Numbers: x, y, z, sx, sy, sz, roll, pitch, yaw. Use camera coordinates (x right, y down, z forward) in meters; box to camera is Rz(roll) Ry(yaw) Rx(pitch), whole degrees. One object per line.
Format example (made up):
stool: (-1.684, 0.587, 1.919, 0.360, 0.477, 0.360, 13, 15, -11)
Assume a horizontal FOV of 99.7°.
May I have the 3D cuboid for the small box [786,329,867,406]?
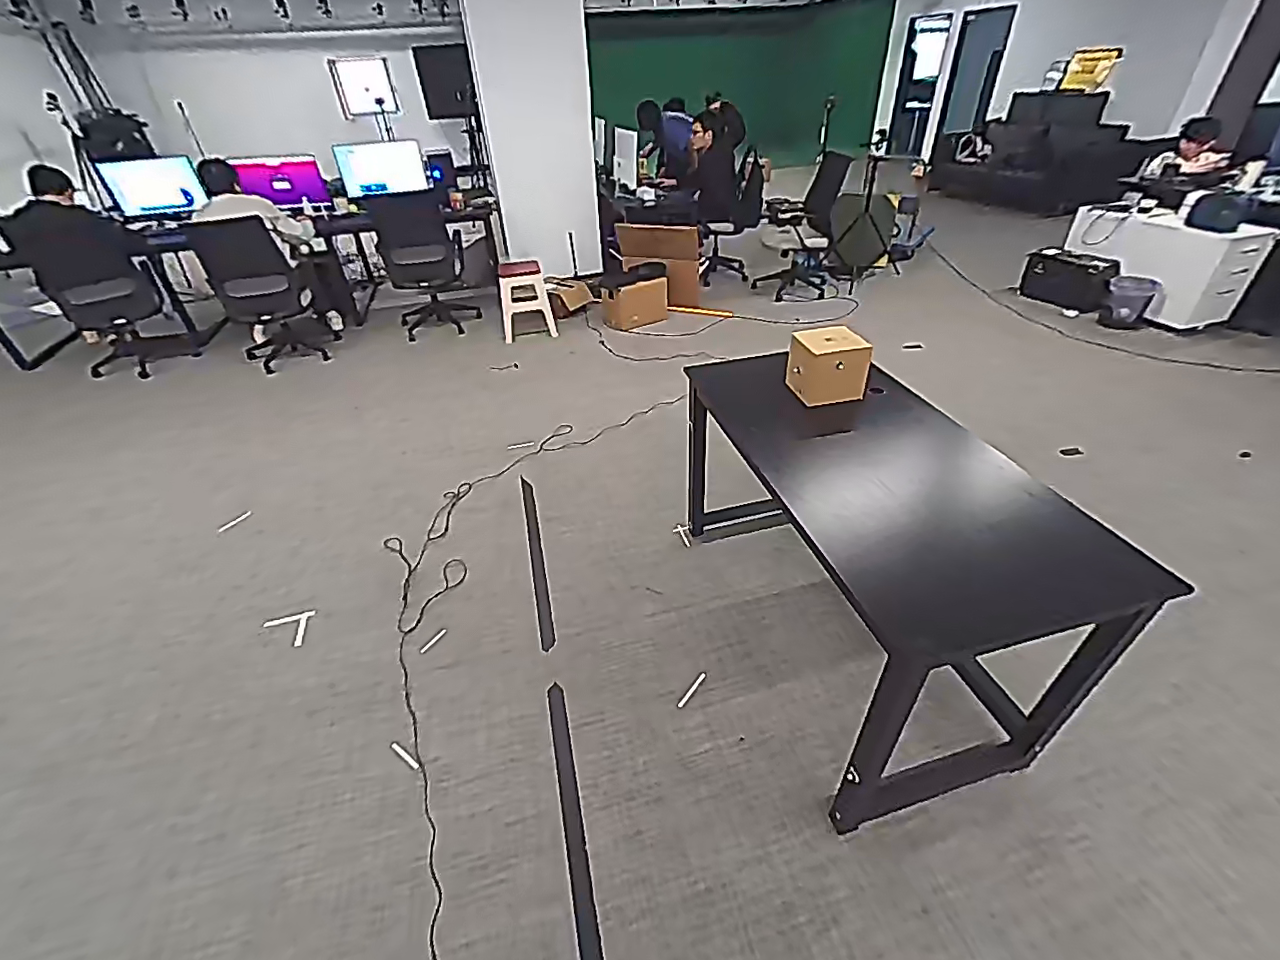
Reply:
small box: (0.548, -0.334, 1.619, 0.179, 0.176, 0.168, -10, 37, -8)
